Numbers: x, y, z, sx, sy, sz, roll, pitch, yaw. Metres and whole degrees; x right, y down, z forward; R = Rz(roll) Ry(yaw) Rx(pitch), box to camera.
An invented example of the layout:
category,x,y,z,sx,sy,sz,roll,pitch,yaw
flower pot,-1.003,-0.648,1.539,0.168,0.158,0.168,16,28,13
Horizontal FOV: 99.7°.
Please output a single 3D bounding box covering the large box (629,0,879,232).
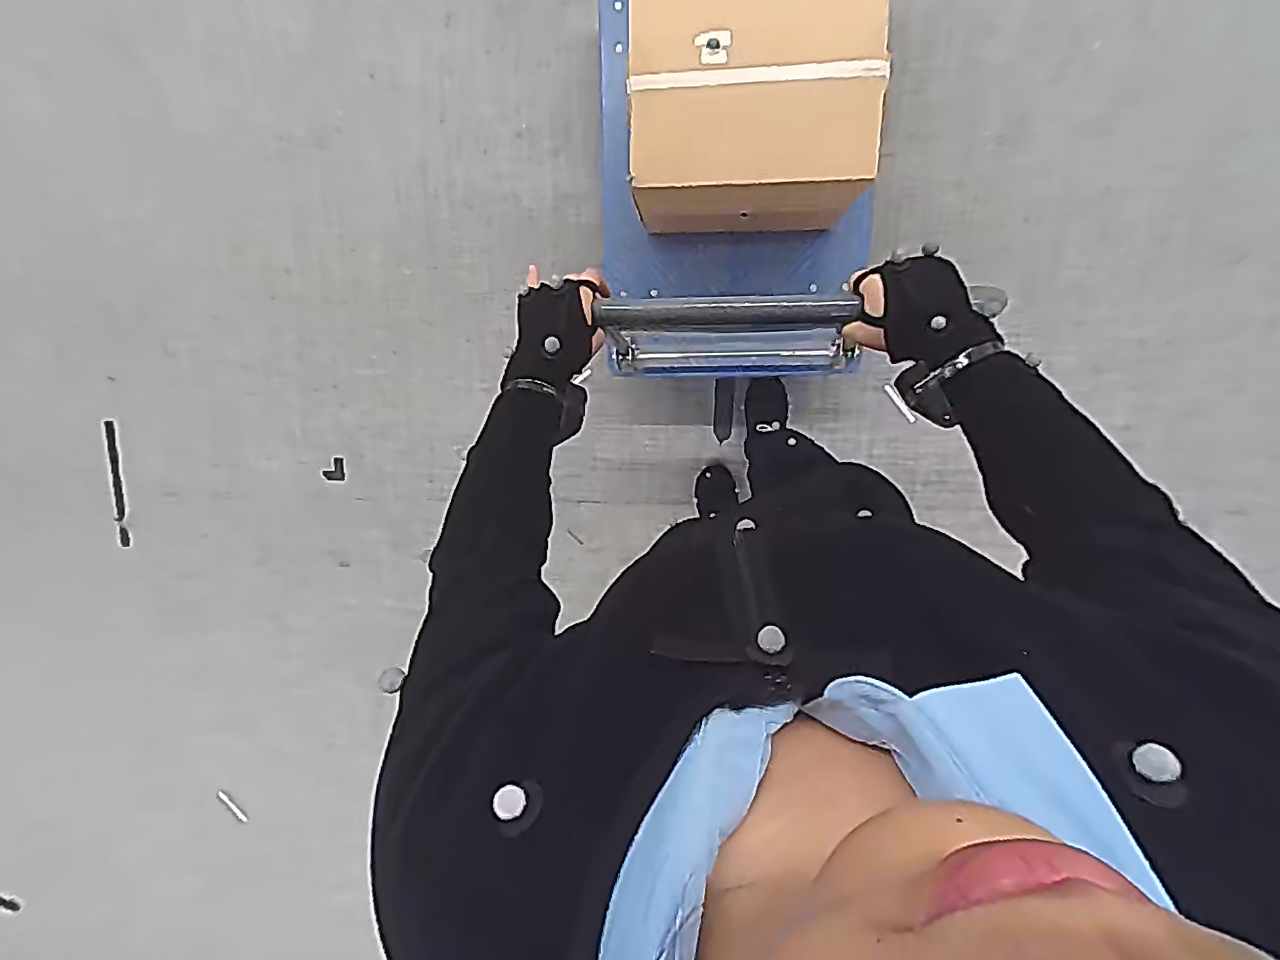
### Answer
category,x,y,z,sx,sy,sz,roll,pitch,yaw
large box,0.202,-0.682,1.034,0.408,0.320,0.320,1,100,7
